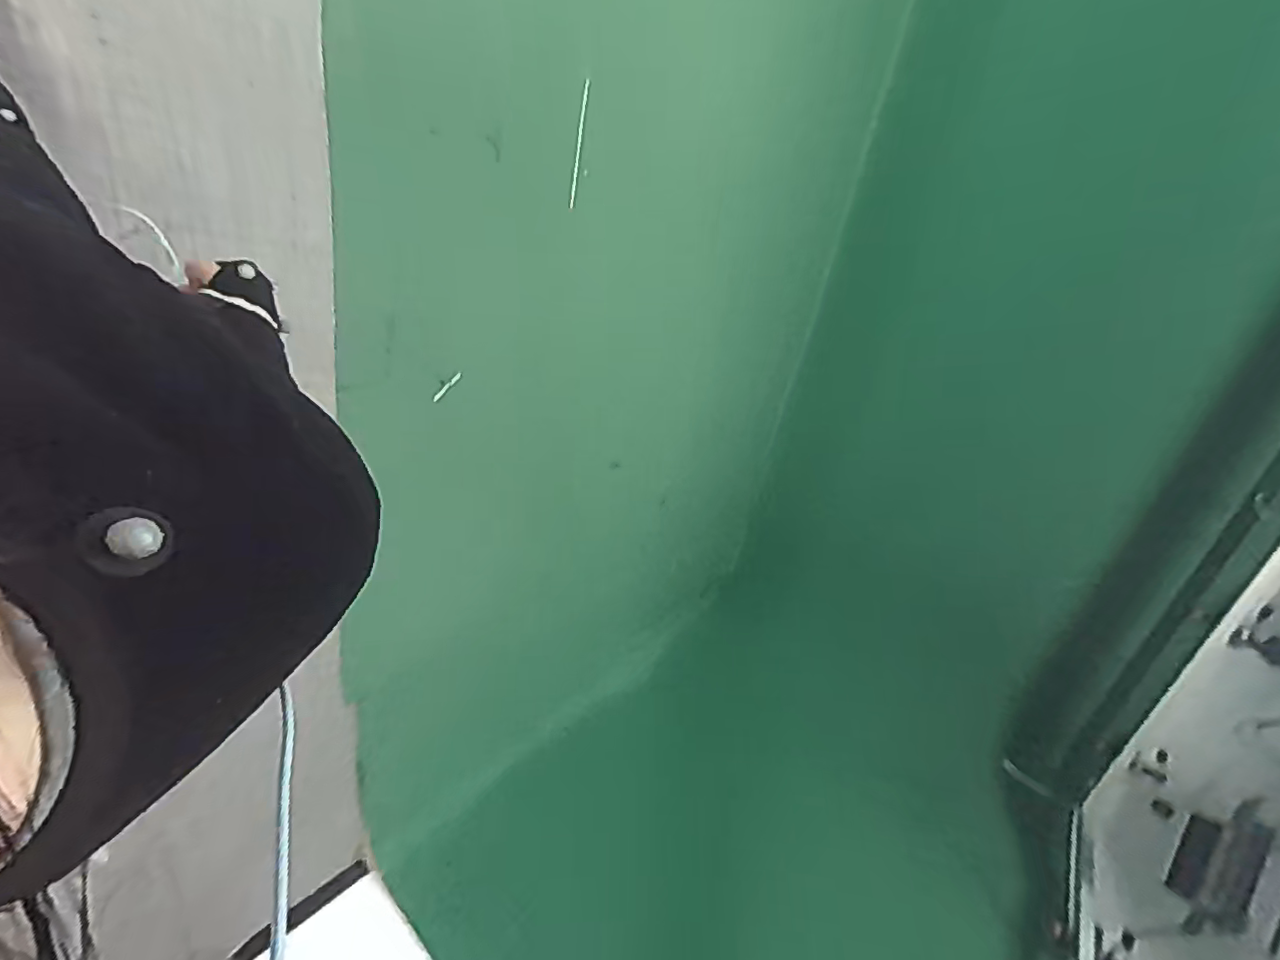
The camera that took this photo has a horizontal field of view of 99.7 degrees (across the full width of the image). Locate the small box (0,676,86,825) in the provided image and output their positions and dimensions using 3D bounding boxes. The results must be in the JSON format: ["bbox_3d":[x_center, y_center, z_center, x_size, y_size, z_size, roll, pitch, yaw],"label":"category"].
[{"bbox_3d":[-1.172,0.503,1.000,0.168,0.176,0.179,-19,127,-49],"label":"small box"}]
